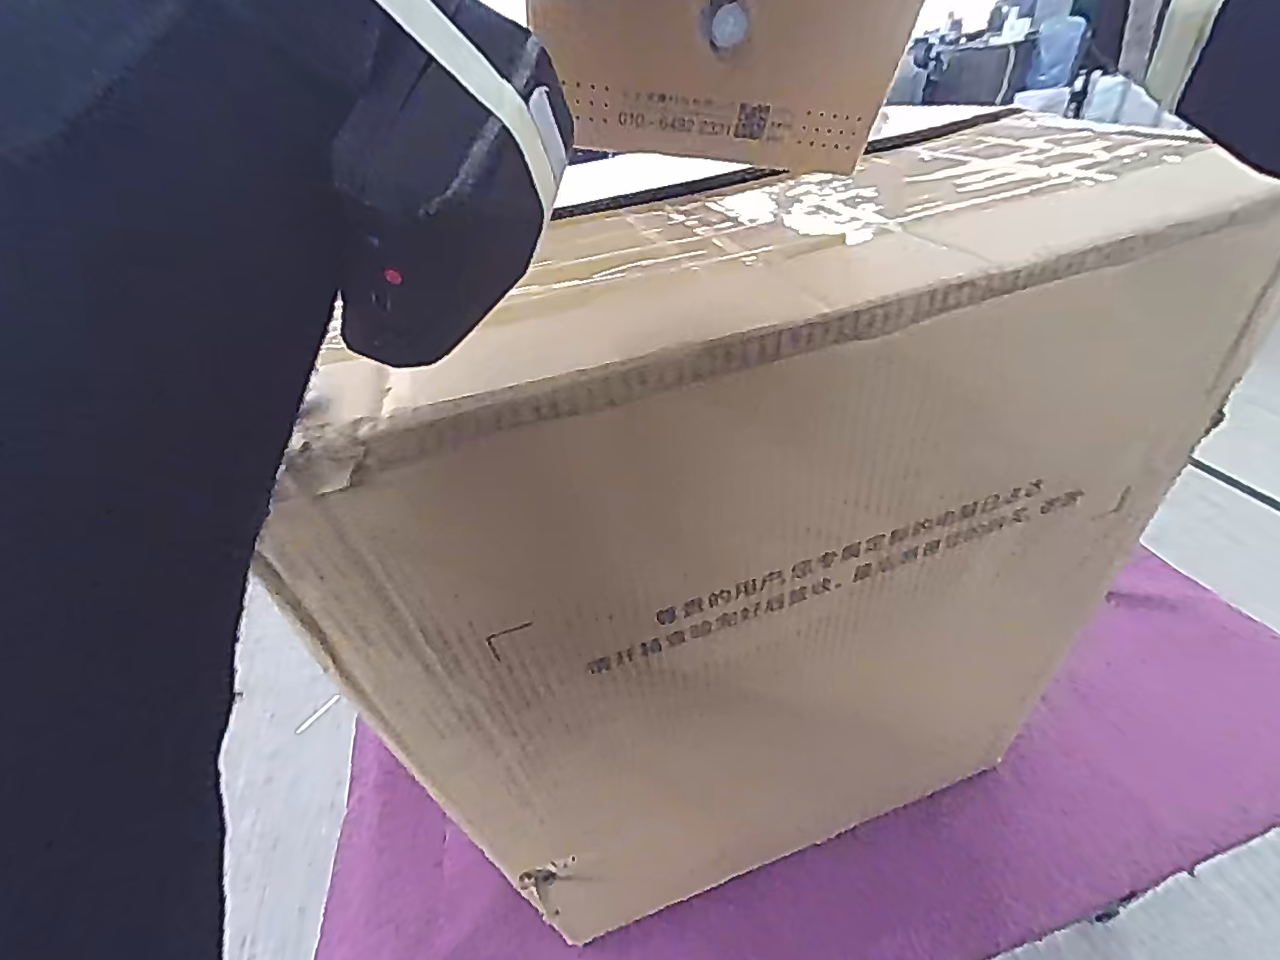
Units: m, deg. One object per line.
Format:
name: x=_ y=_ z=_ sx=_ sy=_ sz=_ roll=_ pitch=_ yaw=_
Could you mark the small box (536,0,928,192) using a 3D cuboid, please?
small box: x=0.037 y=-0.272 z=0.263 sx=0.168 sy=0.176 sz=0.179 roll=1 pitch=54 yaw=-8
